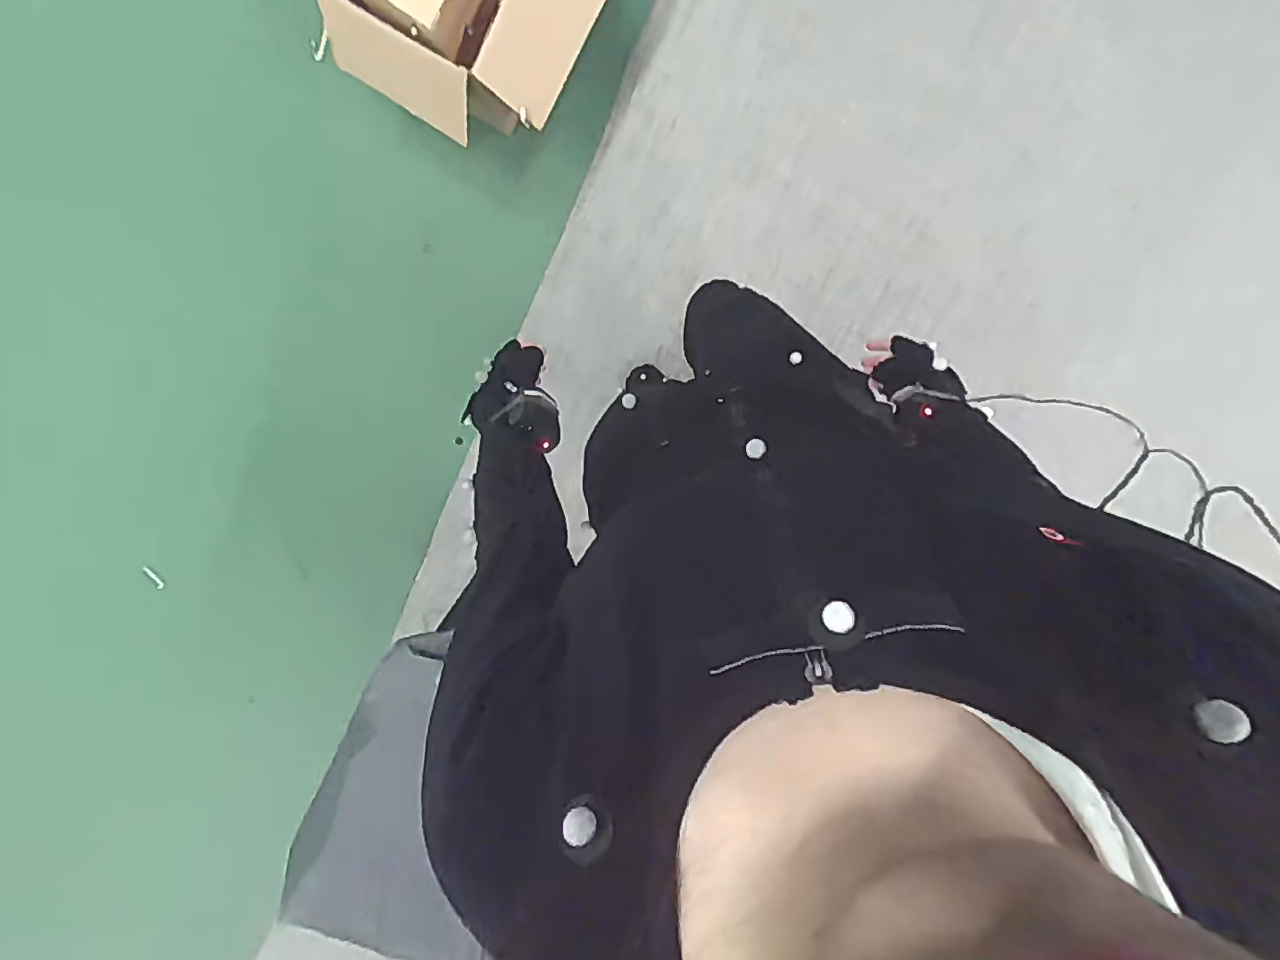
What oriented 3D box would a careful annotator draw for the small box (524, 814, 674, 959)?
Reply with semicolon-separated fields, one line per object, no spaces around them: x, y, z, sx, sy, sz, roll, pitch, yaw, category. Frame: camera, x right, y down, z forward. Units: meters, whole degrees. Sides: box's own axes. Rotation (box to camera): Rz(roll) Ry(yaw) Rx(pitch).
-0.061;0.667;0.828;0.168;0.176;0.179;27;103;-7;small box
